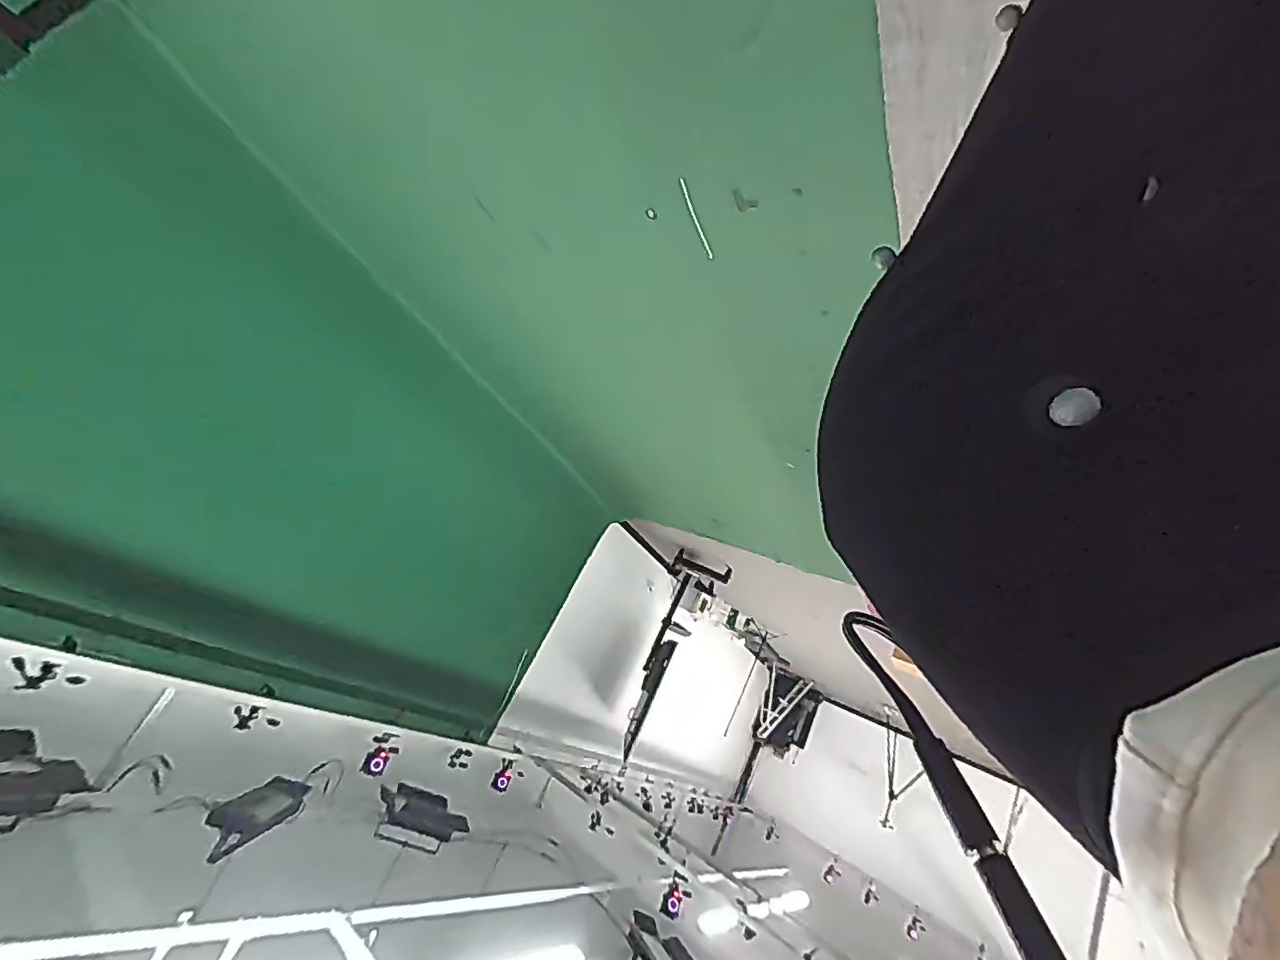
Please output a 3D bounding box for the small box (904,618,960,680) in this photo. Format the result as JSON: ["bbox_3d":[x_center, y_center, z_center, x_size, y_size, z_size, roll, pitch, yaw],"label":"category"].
[{"bbox_3d":[1.193,0.687,2.203,0.168,0.176,0.179,13,157,36],"label":"small box"}]
